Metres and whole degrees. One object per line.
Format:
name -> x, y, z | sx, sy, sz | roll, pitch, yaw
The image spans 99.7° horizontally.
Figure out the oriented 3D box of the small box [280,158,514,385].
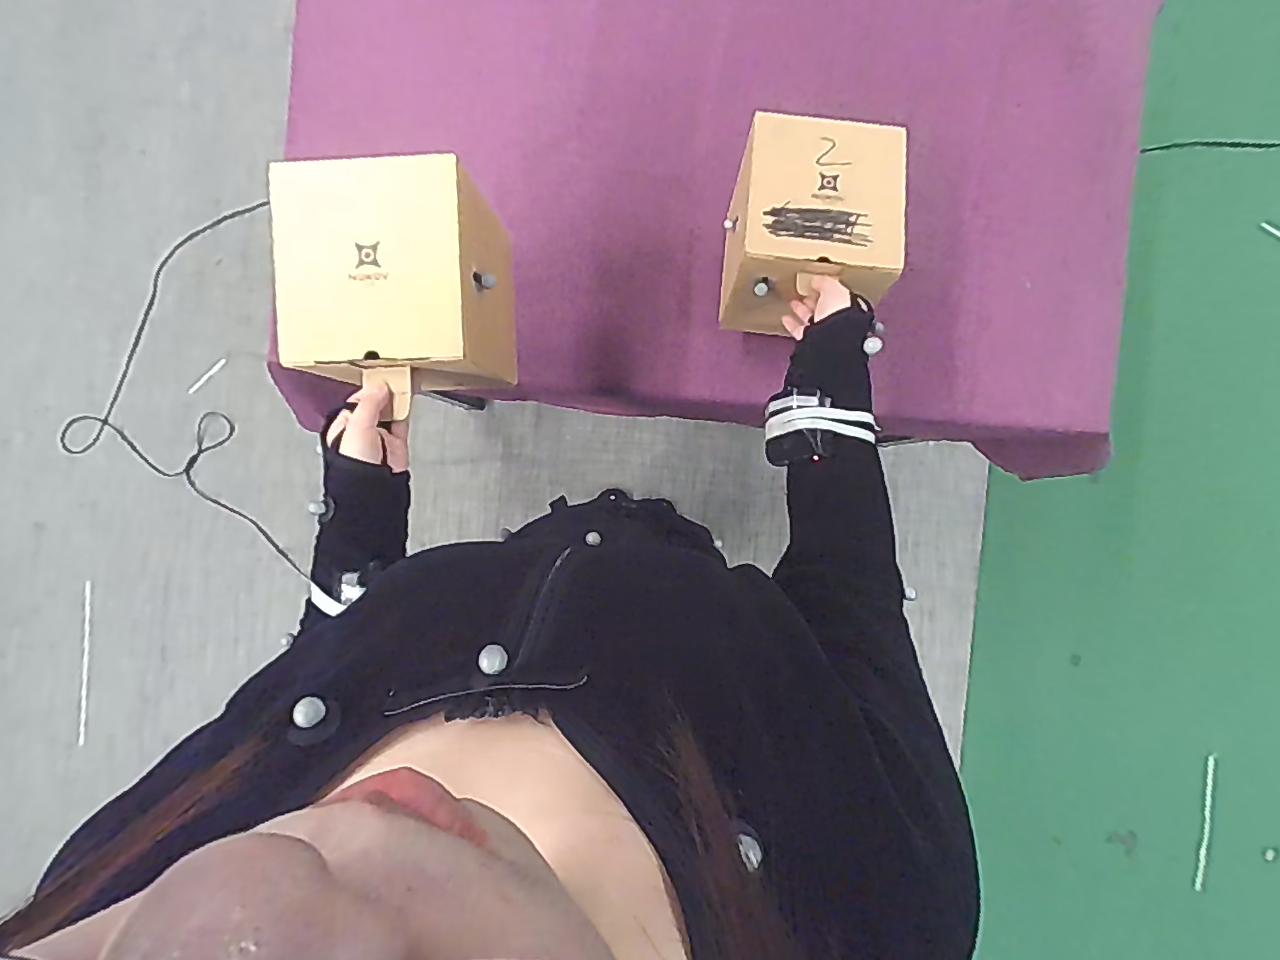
small box -> -0.234, -0.199, 0.560 | 0.168, 0.176, 0.179 | -2, 93, 2
